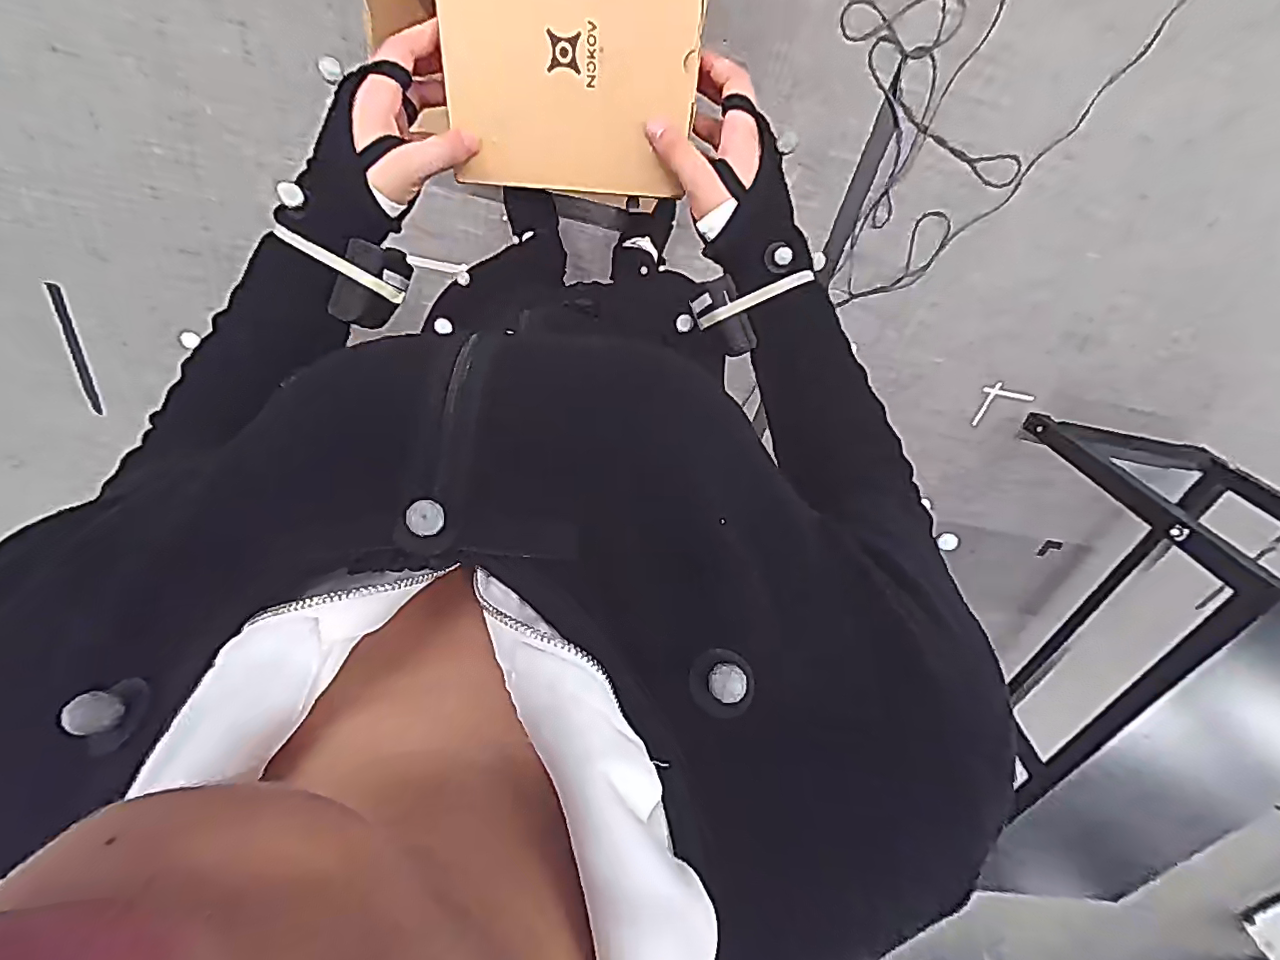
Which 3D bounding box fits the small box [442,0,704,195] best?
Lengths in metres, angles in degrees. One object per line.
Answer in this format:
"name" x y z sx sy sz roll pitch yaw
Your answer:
"small box" -0.048 -0.337 0.440 0.179 0.176 0.168 2 123 -4
